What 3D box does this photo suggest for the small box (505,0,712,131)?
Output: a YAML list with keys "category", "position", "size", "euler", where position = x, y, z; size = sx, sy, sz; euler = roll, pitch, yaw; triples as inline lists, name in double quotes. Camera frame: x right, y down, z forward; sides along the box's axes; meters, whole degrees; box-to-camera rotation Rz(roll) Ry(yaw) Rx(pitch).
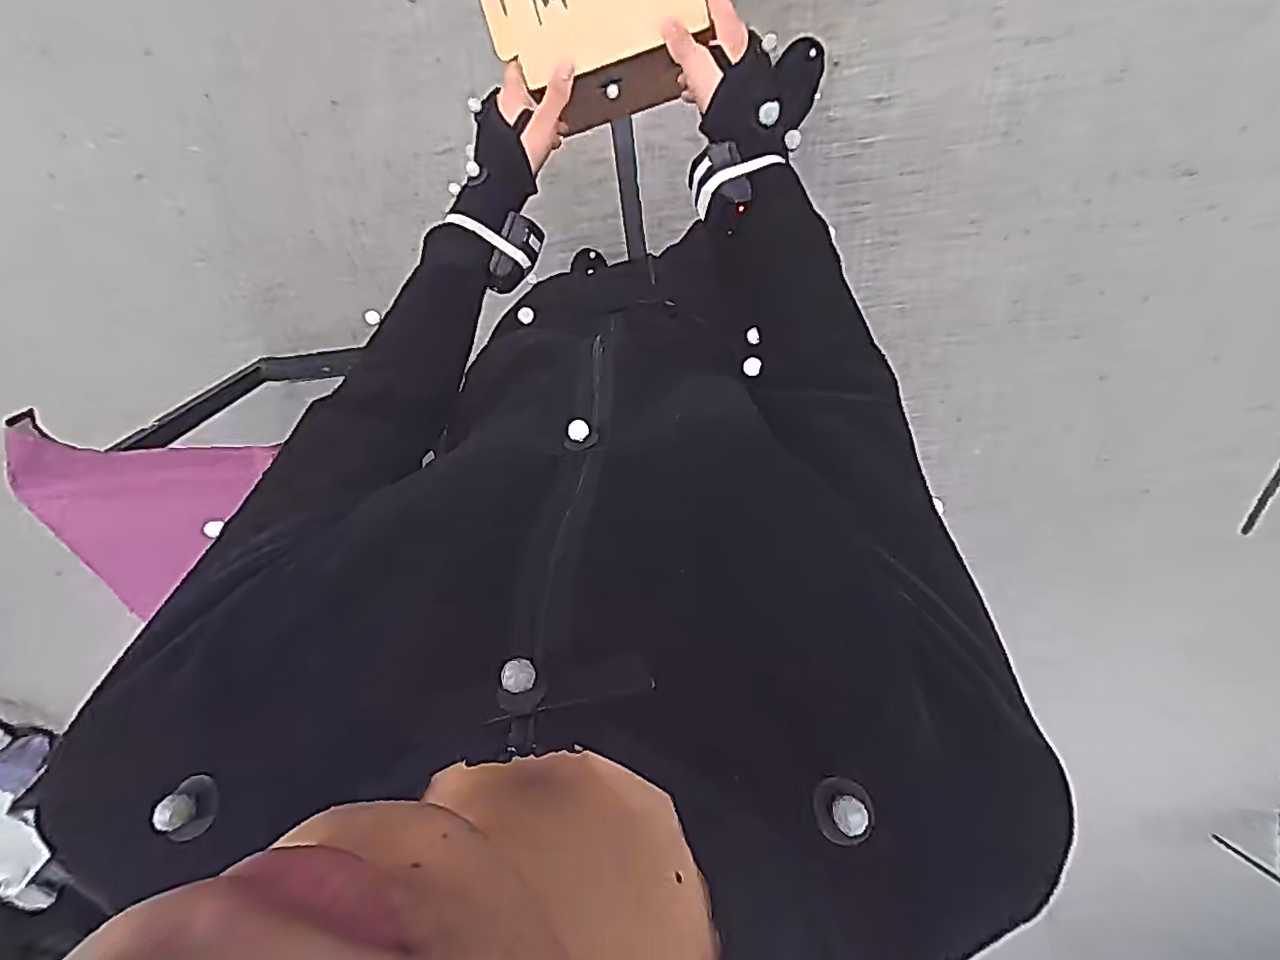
- category: "small box"
  position: [-0.033, -0.478, 0.536]
  size: [0.179, 0.176, 0.168]
  euler: [-14, 108, 9]
